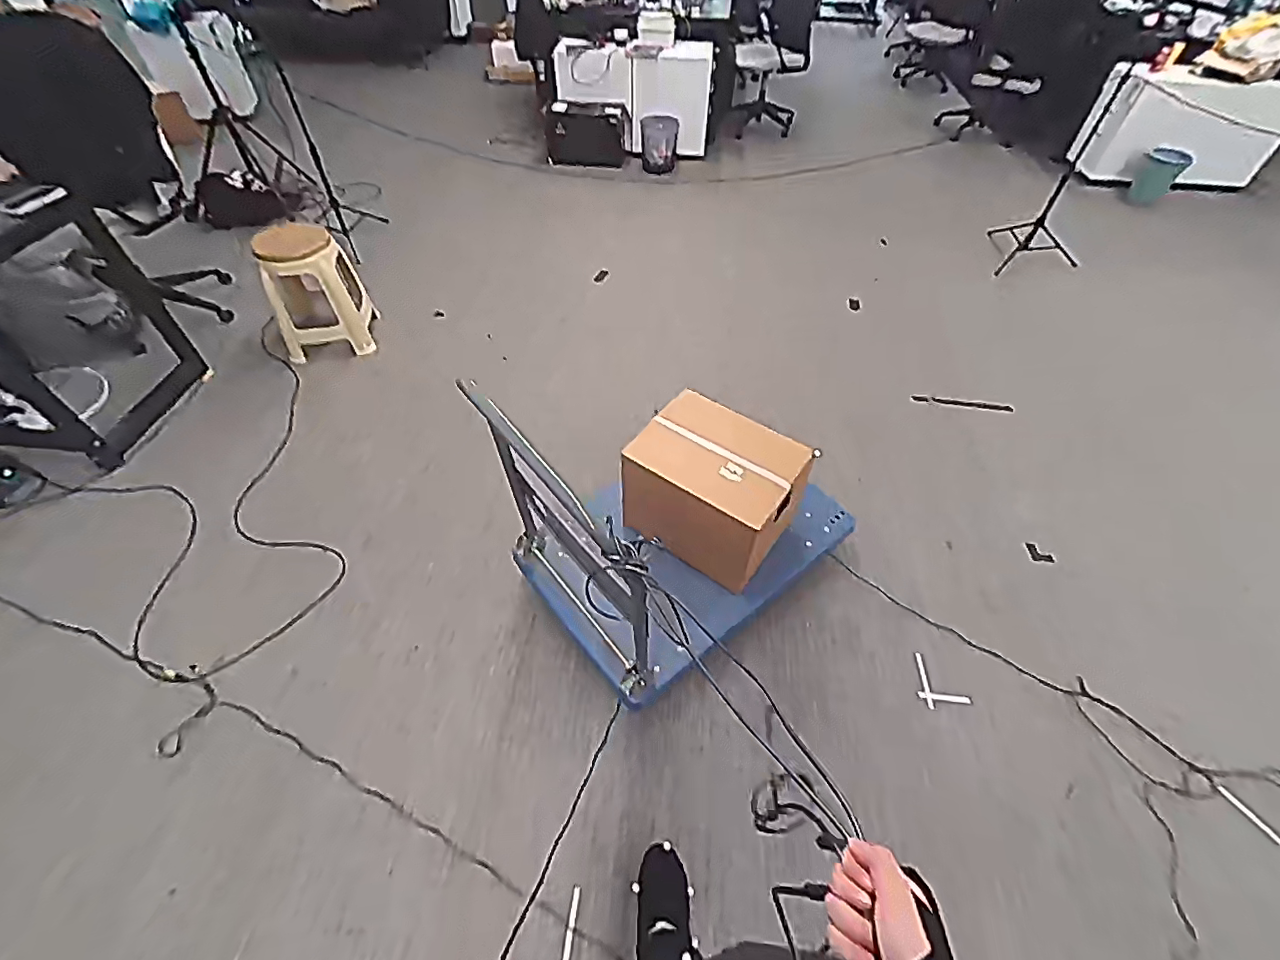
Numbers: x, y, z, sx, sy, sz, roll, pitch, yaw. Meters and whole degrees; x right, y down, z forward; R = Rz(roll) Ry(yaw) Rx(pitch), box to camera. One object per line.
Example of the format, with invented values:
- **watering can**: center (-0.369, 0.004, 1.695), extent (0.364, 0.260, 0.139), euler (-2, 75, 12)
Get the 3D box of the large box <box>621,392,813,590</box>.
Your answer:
- **large box**: center (0.193, 0.026, 1.494), extent (0.408, 0.320, 0.320), euler (30, 57, 21)
